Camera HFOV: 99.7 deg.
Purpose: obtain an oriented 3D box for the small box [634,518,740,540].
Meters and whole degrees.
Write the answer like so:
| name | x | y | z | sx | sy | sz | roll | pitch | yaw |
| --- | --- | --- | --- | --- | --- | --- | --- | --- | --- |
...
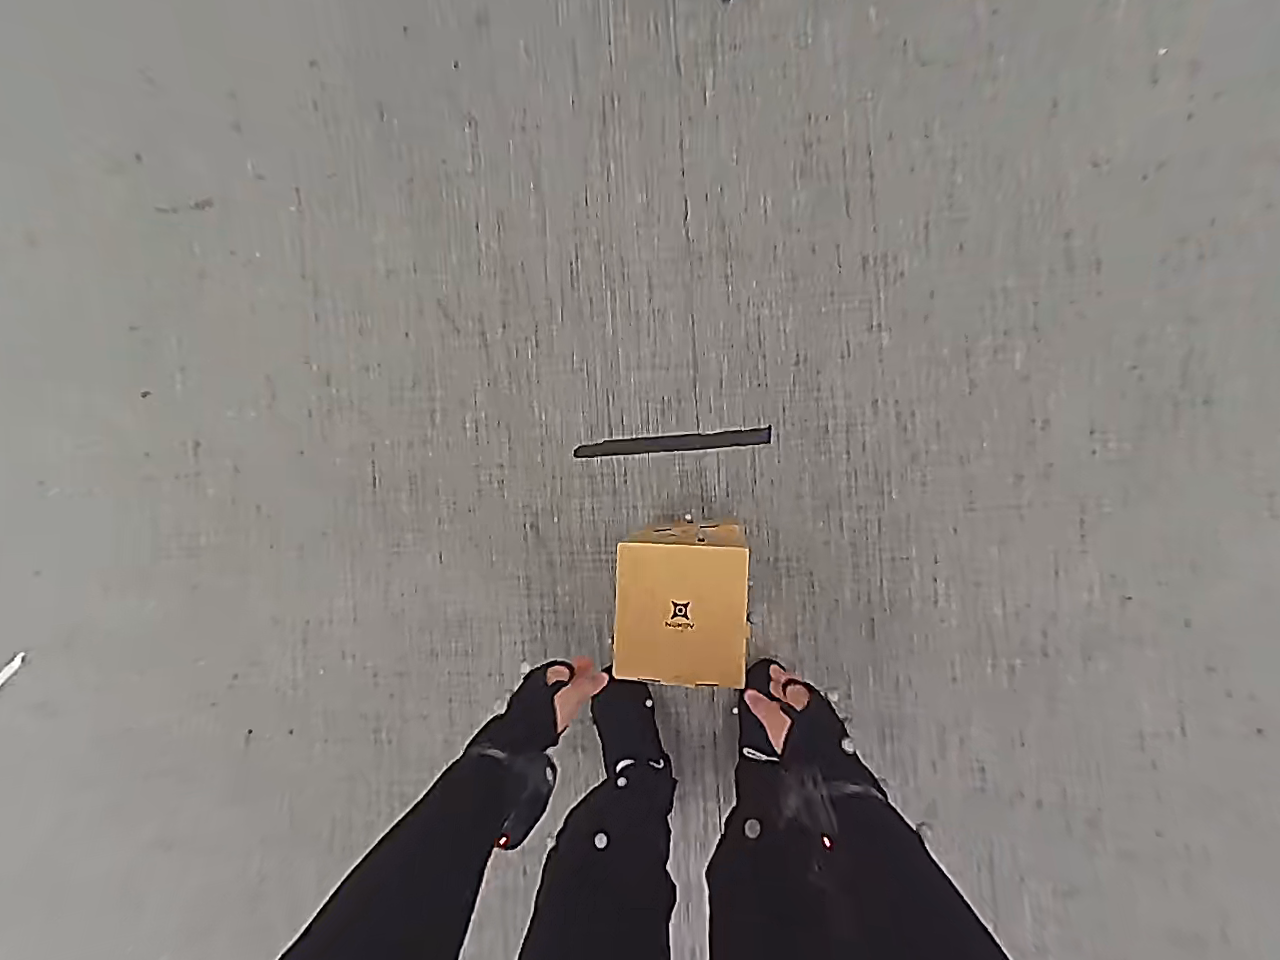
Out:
| name | x | y | z | sx | sy | sz | roll | pitch | yaw |
| --- | --- | --- | --- | --- | --- | --- | --- | --- | --- |
| small box | 0.087 | 0.161 | 0.906 | 0.168 | 0.176 | 0.179 | -5 | 88 | 7 |

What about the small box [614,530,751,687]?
| name | x | y | z | sx | sy | sz | roll | pitch | yaw |
| --- | --- | --- | --- | --- | --- | --- | --- | --- | --- |
| small box | 0.060 | 0.163 | 0.745 | 0.168 | 0.176 | 0.179 | 2 | 90 | 7 |
